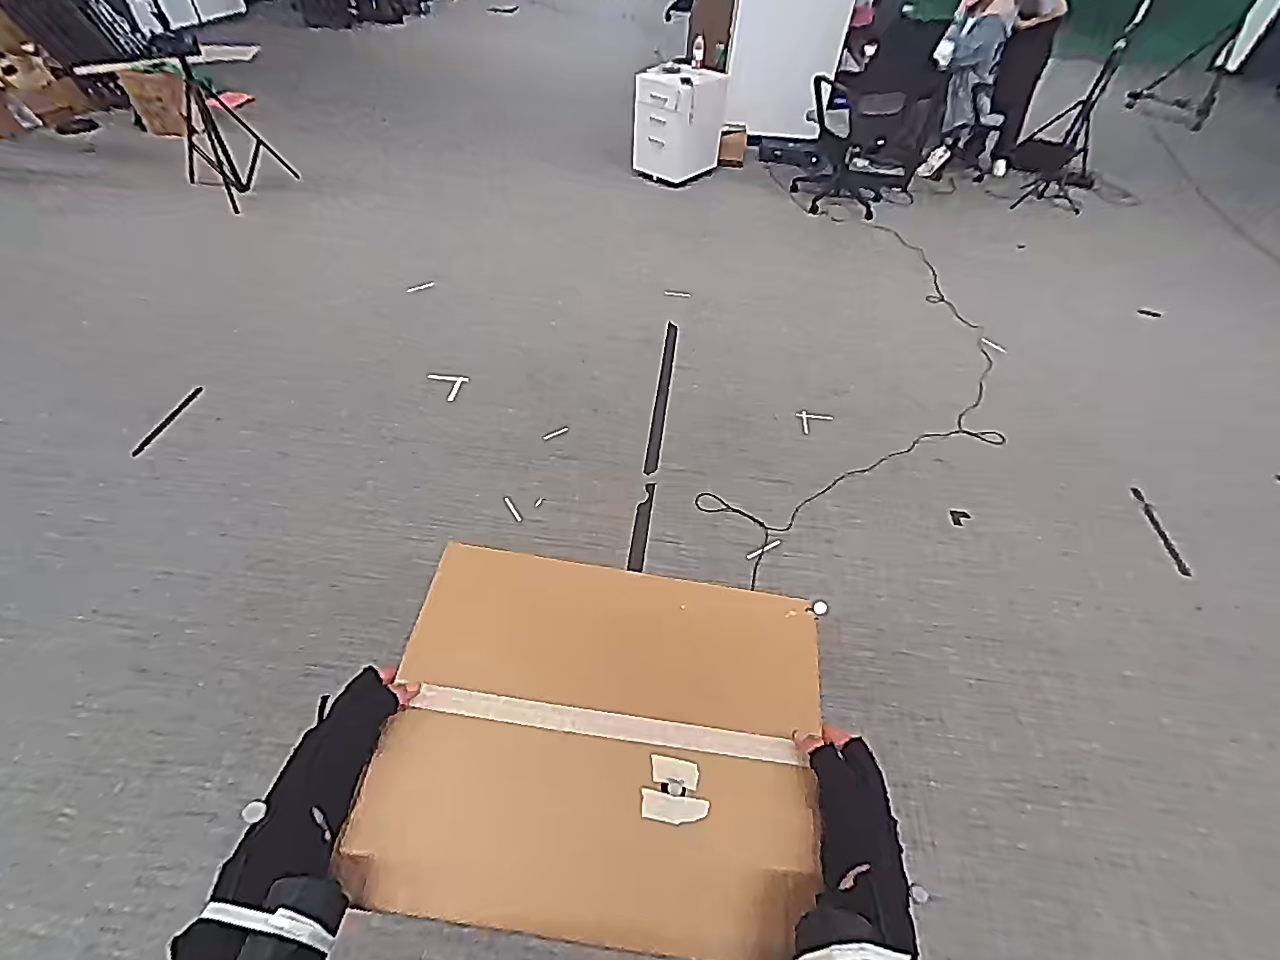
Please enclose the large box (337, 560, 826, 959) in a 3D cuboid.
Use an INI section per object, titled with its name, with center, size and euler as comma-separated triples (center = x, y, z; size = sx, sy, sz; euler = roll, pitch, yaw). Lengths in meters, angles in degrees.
[large box]
center = -0.046, 0.322, 0.636
size = 0.408, 0.320, 0.320
euler = 9, 56, -1
